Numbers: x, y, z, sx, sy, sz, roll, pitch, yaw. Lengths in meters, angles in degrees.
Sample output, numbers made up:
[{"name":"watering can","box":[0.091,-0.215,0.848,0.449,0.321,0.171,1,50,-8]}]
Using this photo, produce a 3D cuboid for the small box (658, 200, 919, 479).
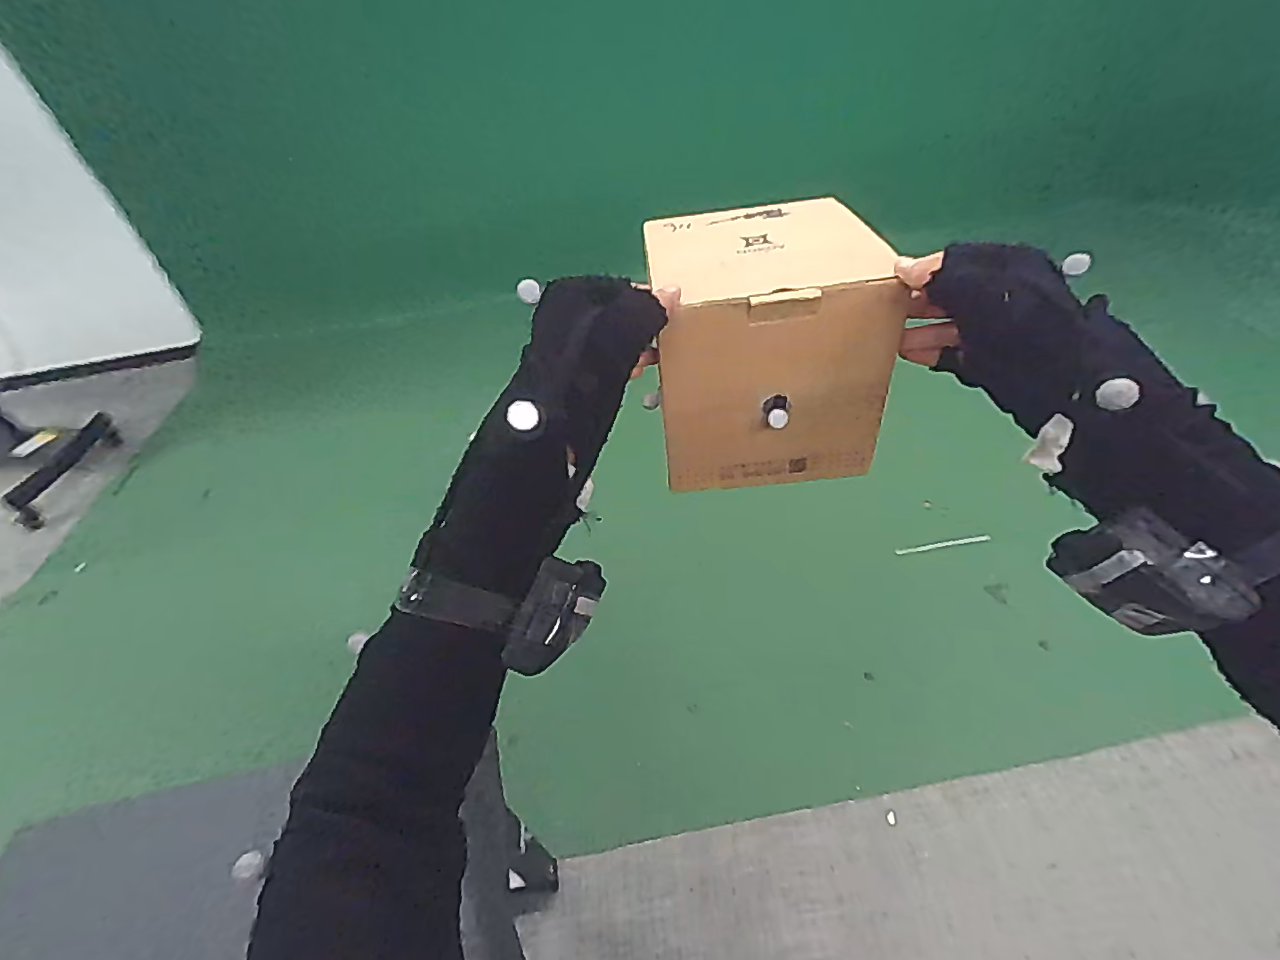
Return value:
[{"name":"small box","box":[0.106,-0.113,0.459,0.168,0.176,0.179,-5,43,4]}]
